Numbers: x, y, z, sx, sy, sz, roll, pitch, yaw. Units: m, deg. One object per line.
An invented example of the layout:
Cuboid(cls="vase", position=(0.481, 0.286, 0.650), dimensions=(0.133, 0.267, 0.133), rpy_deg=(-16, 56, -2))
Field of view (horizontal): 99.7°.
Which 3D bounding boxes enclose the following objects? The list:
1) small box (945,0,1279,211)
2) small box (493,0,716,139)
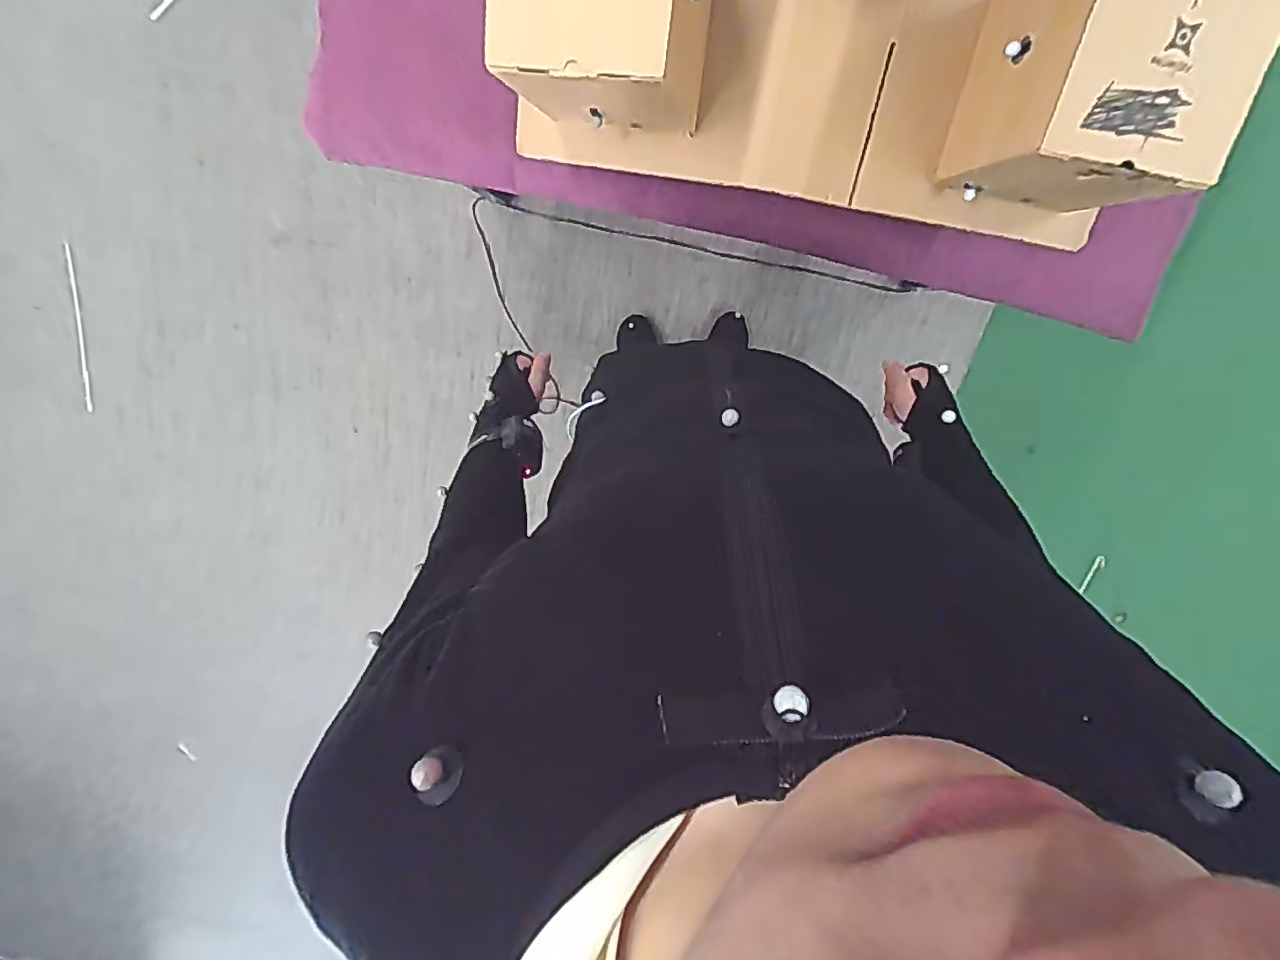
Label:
Cuboid(cls="small box", position=(0.425, -0.367, 0.507), dimensions=(0.168, 0.176, 0.179), rpy_deg=(8, 109, -5))
Cuboid(cls="small box", position=(-0.023, -0.449, 0.510), dimensions=(0.168, 0.176, 0.179), rpy_deg=(11, 112, 10))
